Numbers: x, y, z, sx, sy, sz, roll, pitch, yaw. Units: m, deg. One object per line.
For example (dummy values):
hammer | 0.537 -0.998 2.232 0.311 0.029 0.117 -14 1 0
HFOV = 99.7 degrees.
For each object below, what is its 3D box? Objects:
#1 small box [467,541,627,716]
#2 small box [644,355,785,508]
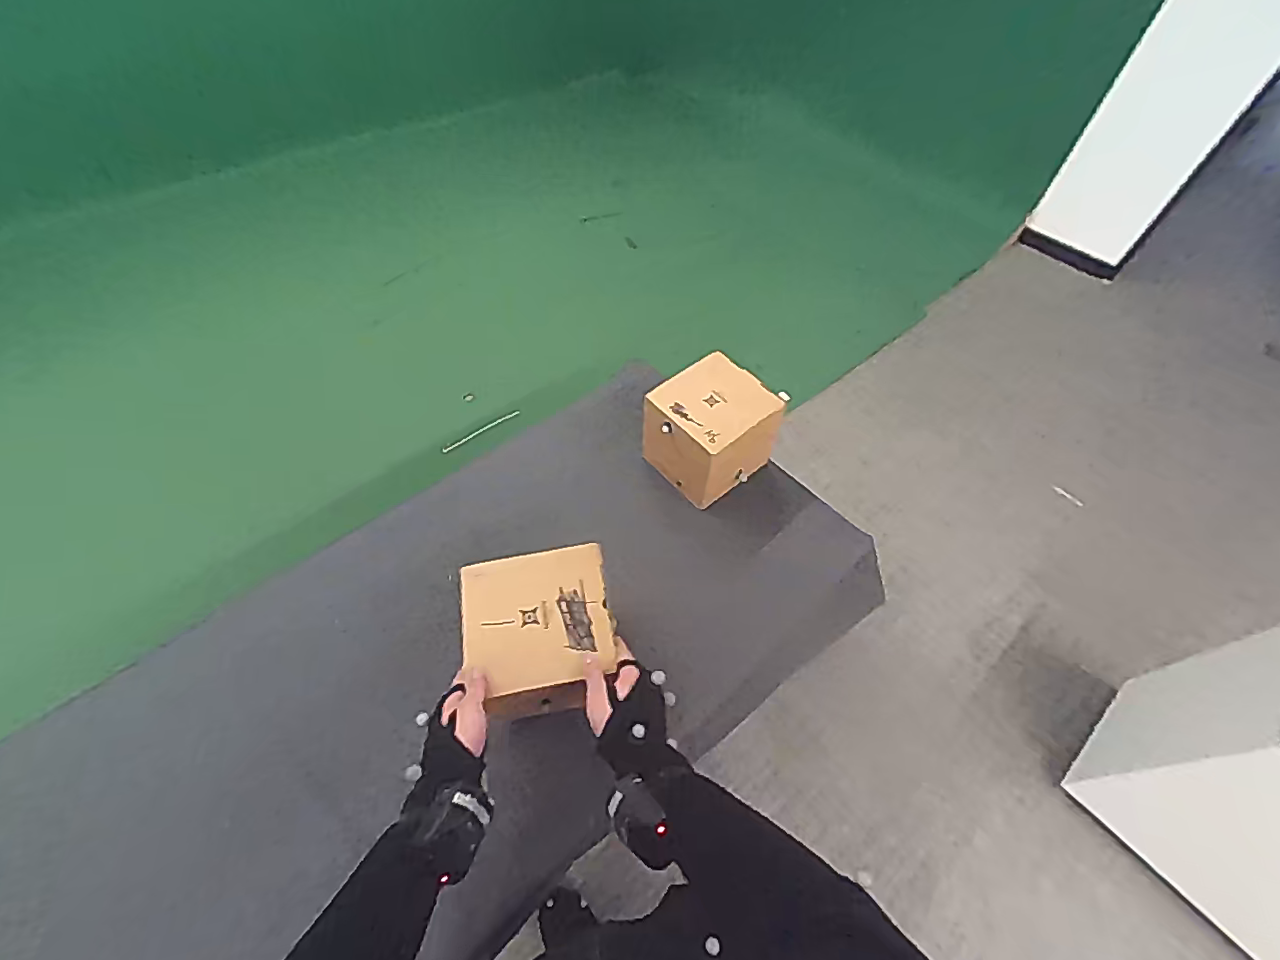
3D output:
small box | -0.115 0.195 0.697 0.179 0.176 0.168 -8 59 -6
small box | 0.121 -0.085 0.963 0.179 0.176 0.168 -33 63 -24
